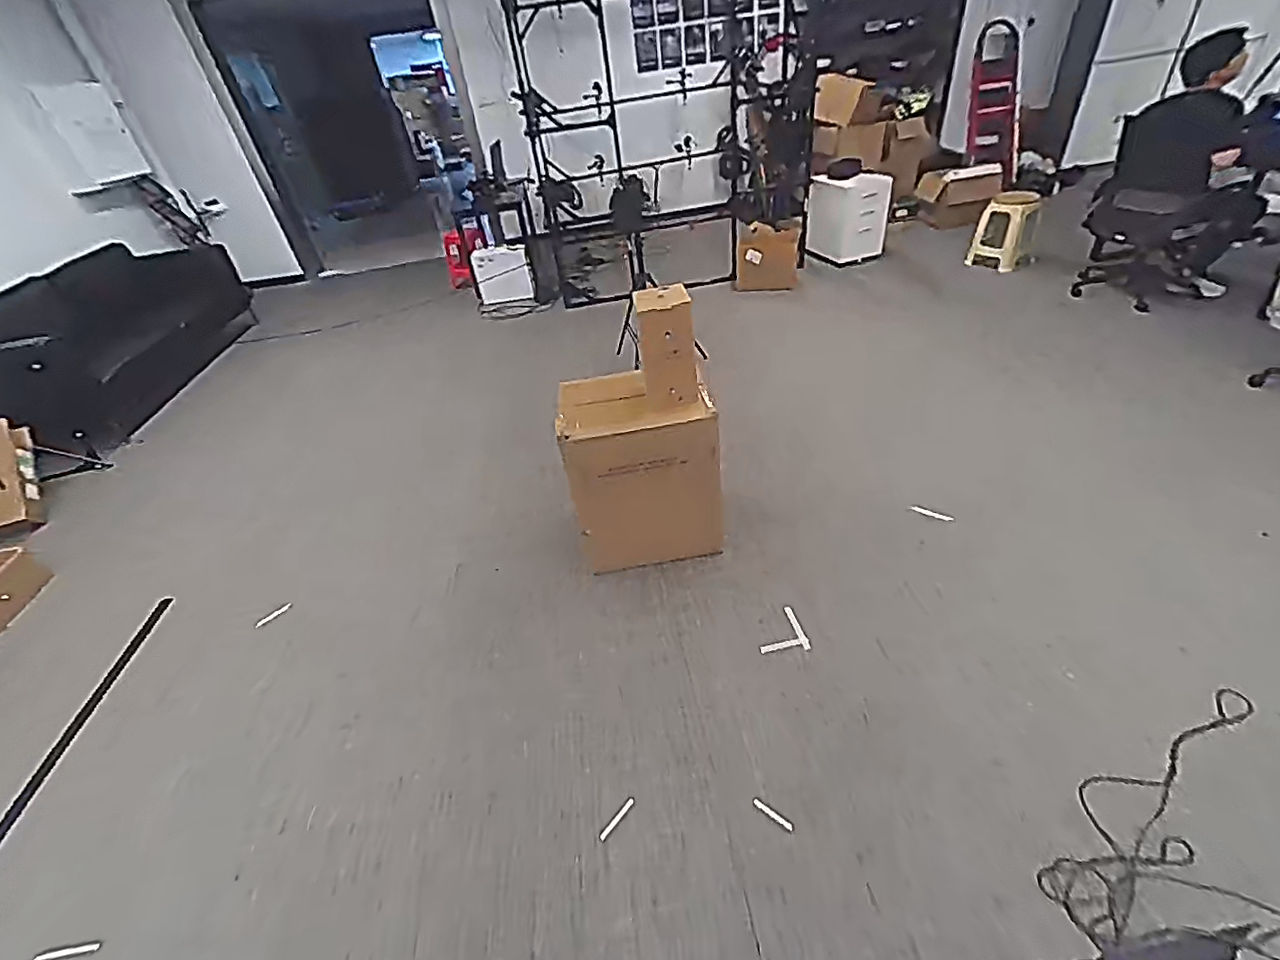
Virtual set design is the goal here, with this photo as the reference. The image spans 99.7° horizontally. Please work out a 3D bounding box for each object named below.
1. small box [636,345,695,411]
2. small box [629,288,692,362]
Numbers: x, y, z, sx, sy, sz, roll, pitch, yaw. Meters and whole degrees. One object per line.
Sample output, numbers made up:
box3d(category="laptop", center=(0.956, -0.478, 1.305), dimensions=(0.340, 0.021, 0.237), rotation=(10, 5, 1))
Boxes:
box3d(category="small box", center=(0.084, -0.353, 1.810), dimensions=(0.168, 0.176, 0.179), rotation=(-11, 38, -1))
box3d(category="small box", center=(0.066, -0.484, 1.713), dimensions=(0.168, 0.176, 0.179), rotation=(-10, 38, 0))
